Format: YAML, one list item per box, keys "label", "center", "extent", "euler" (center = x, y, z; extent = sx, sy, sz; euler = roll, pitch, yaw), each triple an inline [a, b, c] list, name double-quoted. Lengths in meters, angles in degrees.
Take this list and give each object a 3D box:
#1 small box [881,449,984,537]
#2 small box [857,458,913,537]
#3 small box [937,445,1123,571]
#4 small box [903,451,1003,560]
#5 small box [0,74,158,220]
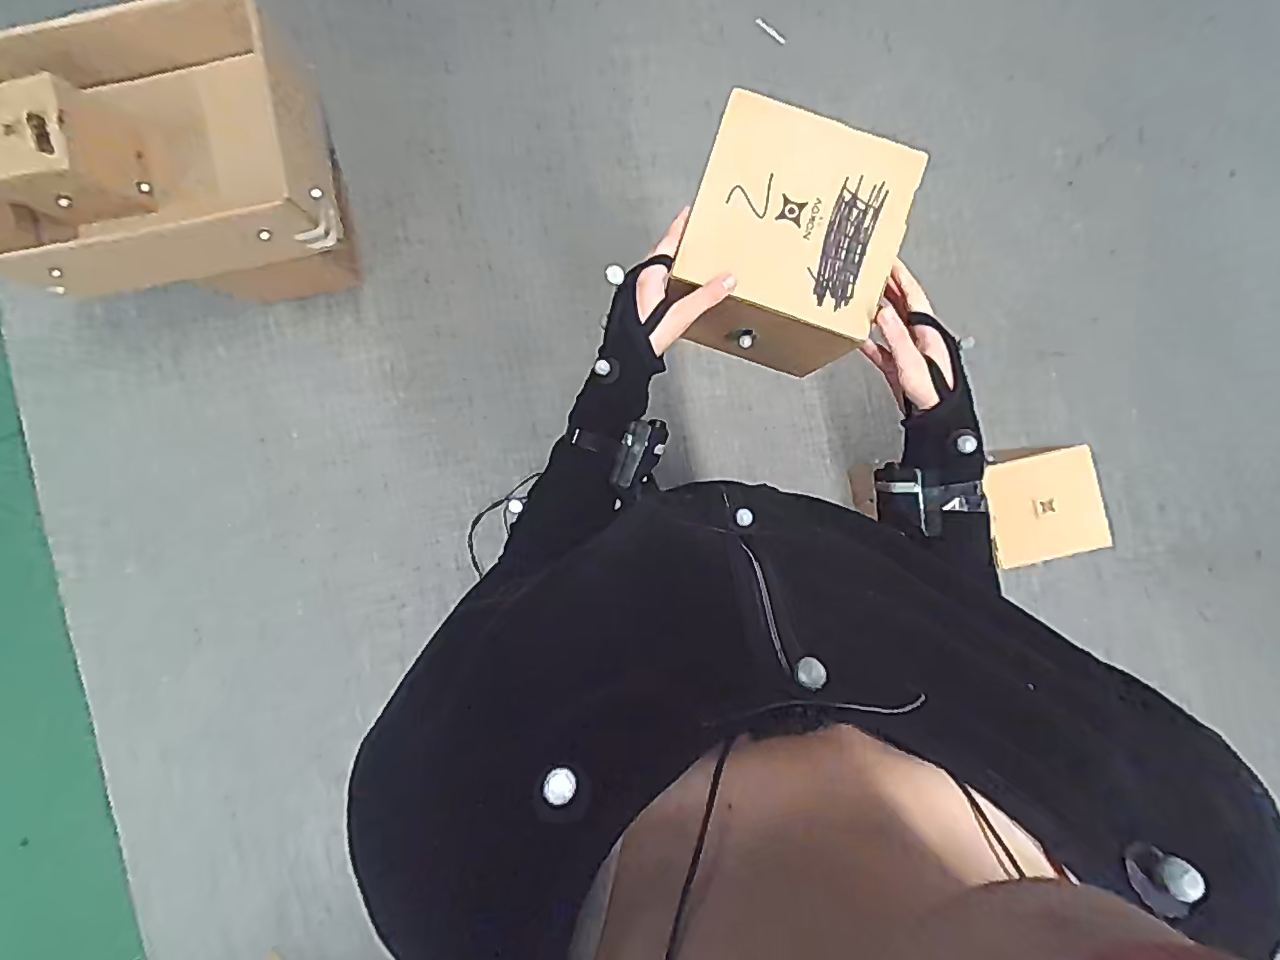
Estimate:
- label: "small box"
  center: [0.674, 0.032, 1.235]
  extent: [0.168, 0.176, 0.179]
  euler: [-12, 91, 4]
- label: "small box"
  center: [0.683, 0.039, 1.399]
  extent: [0.168, 0.176, 0.179]
  euler: [-12, 91, 3]
- label: "small box"
  center: [0.641, 0.041, 0.910]
  extent: [0.179, 0.176, 0.168]
  euler: [-14, 90, 4]
- label: "small box"
  center: [0.653, 0.043, 1.073]
  extent: [0.168, 0.176, 0.179]
  euler: [-14, 91, 3]
- label: "small box"
  center: [-1.068, -0.619, 1.025]
  extent: [0.179, 0.176, 0.168]
  euler: [-8, 91, 2]
